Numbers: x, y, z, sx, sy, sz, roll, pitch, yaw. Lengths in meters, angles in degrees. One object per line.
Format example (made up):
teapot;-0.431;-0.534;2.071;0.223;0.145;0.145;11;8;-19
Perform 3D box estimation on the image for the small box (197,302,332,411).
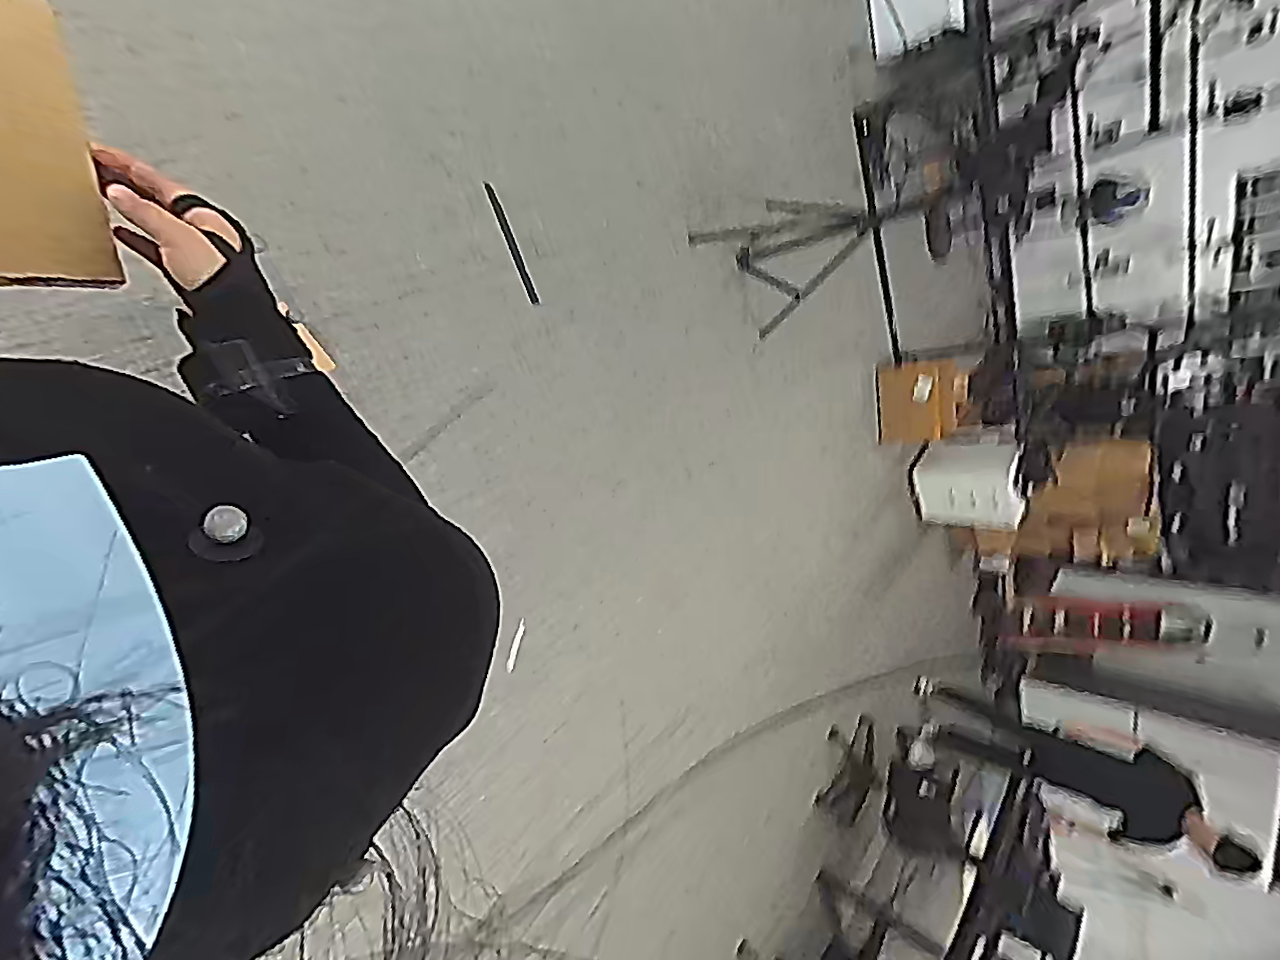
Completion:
small box;-0.828;-0.266;1.188;0.179;0.176;0.168;-46;121;-31
